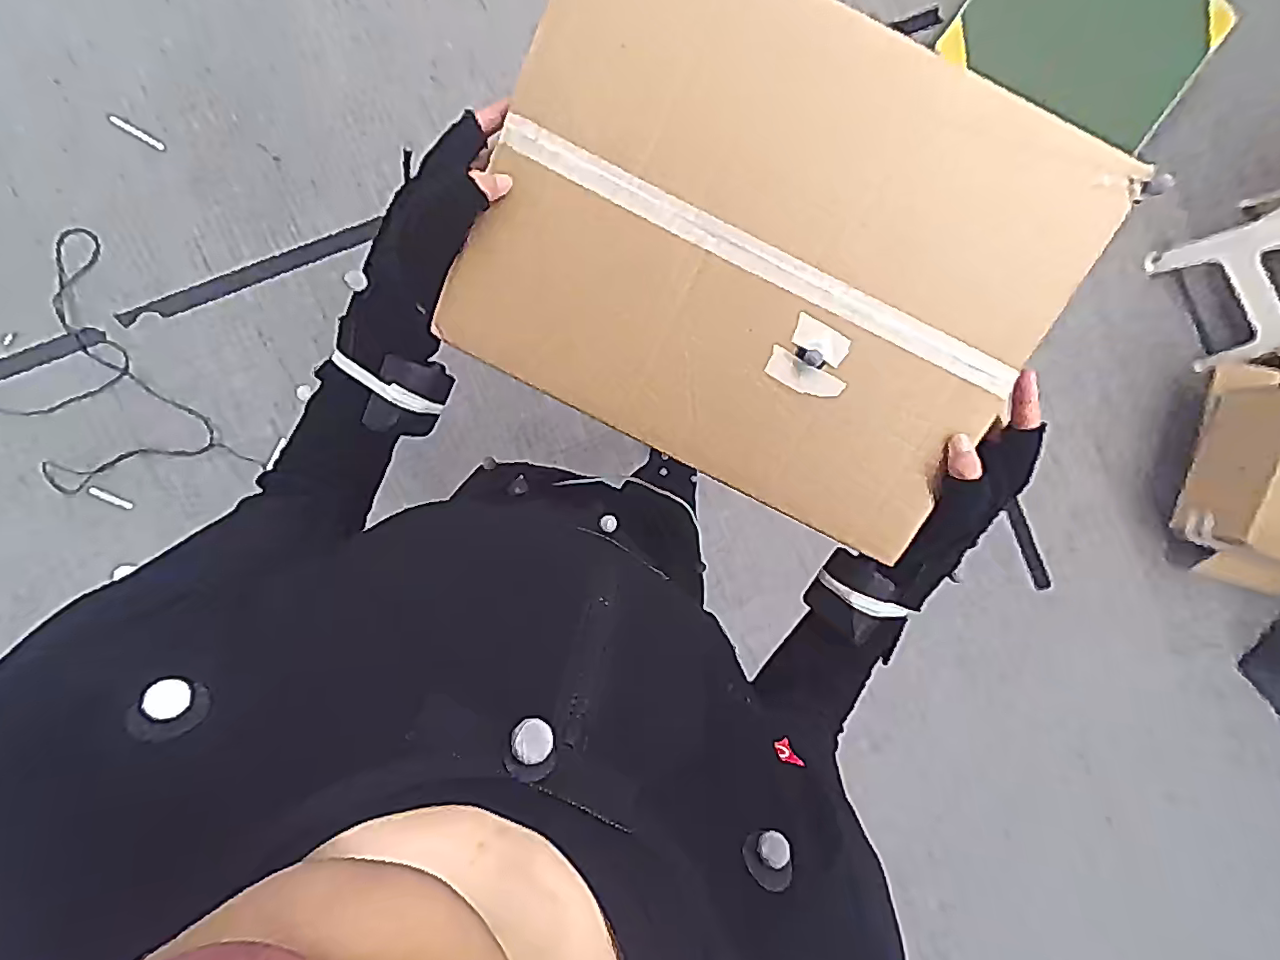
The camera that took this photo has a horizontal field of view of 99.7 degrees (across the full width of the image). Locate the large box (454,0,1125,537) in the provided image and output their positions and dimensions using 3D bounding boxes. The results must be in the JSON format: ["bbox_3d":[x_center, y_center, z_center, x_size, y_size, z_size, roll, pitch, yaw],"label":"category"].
[{"bbox_3d":[0.102,-0.202,0.544,0.408,0.320,0.320,27,105,-2],"label":"large box"}]
